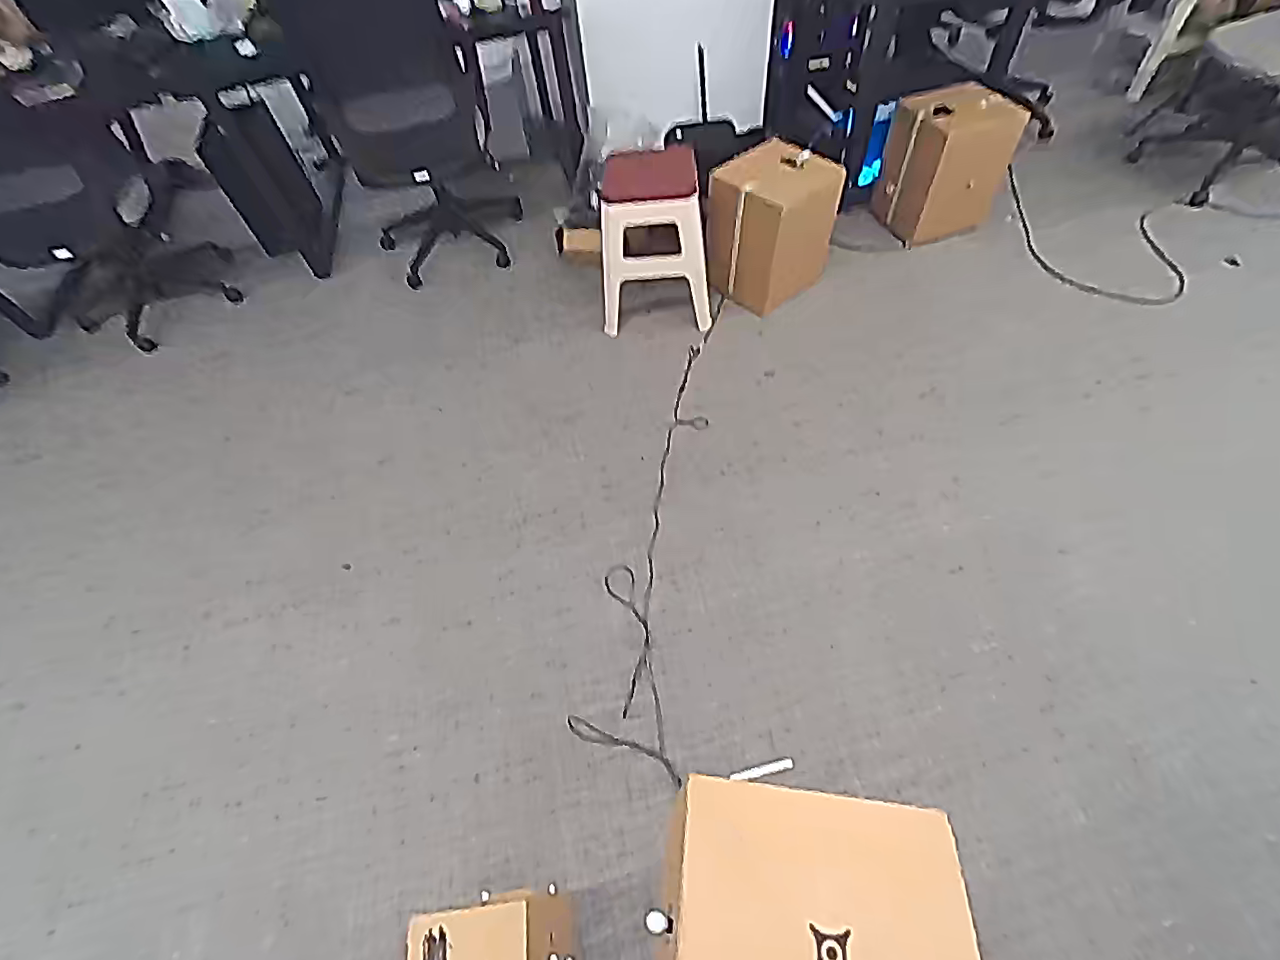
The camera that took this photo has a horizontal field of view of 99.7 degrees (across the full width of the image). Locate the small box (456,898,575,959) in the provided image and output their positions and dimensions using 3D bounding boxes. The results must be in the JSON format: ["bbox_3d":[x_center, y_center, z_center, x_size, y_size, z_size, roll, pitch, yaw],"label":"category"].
[{"bbox_3d":[-0.207,0.832,0.922,0.168,0.176,0.179,-9,55,1],"label":"small box"}]

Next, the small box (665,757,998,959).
[{"bbox_3d":[0.103,0.305,0.343,0.168,0.176,0.179,7,48,4],"label":"small box"}]
